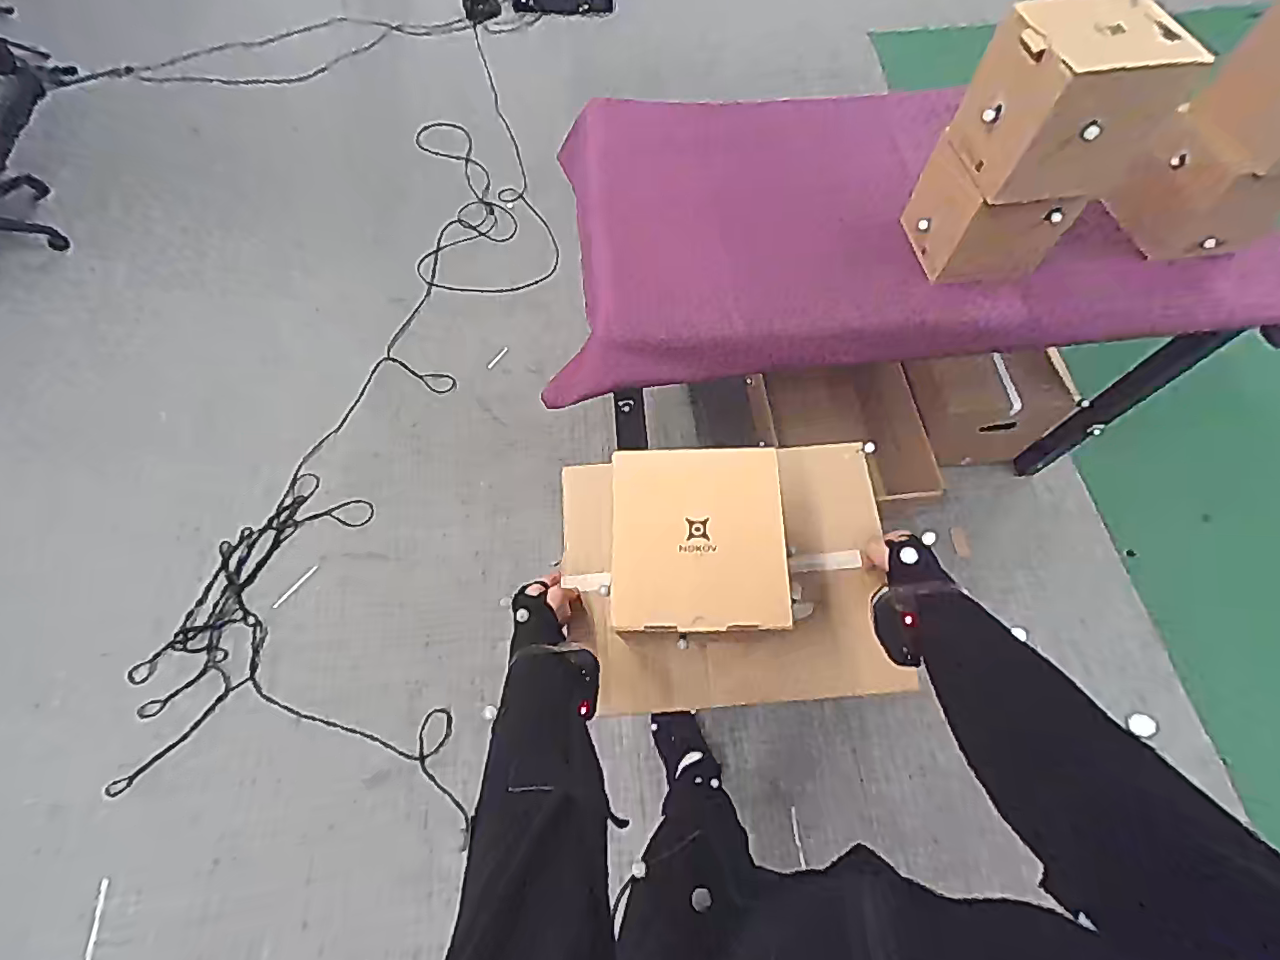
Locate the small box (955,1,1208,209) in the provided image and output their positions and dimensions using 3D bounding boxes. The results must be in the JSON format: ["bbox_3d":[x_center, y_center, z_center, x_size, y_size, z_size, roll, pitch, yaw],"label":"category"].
[{"bbox_3d":[0.556,-0.488,0.719,0.179,0.176,0.168,-7,64,-2],"label":"small box"}]

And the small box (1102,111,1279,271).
[{"bbox_3d":[0.927,-0.475,0.886,0.168,0.176,0.179,-8,63,-1],"label":"small box"}]

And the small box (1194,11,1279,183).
[{"bbox_3d":[0.939,-0.540,0.735,0.168,0.176,0.179,-8,63,-1],"label":"small box"}]

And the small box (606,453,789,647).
[{"bbox_3d":[0.054,0.084,0.583,0.168,0.176,0.179,-1,70,2],"label":"small box"}]

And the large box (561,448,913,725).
[{"bbox_3d":[0.108,0.170,0.809,0.408,0.320,0.320,-5,70,0],"label":"large box"}]

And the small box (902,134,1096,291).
[{"bbox_3d":[0.563,-0.431,0.874,0.179,0.176,0.168,-6,63,-1],"label":"small box"}]
